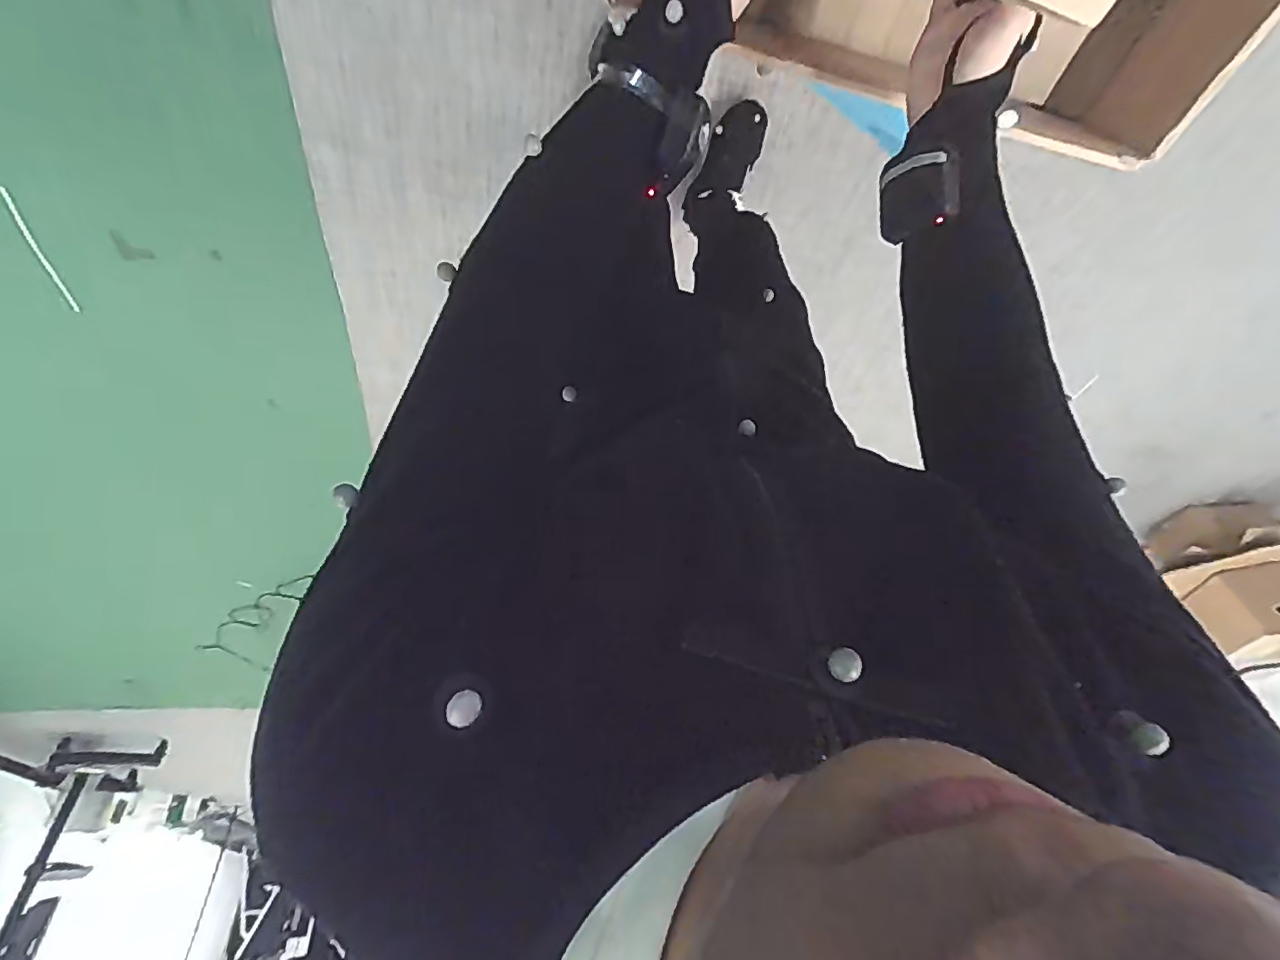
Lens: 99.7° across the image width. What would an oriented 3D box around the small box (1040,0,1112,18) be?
[{"bbox_3d":[0.210,-0.402,0.302,0.179,0.176,0.168,4,139,-16],"label":"small box"}]
